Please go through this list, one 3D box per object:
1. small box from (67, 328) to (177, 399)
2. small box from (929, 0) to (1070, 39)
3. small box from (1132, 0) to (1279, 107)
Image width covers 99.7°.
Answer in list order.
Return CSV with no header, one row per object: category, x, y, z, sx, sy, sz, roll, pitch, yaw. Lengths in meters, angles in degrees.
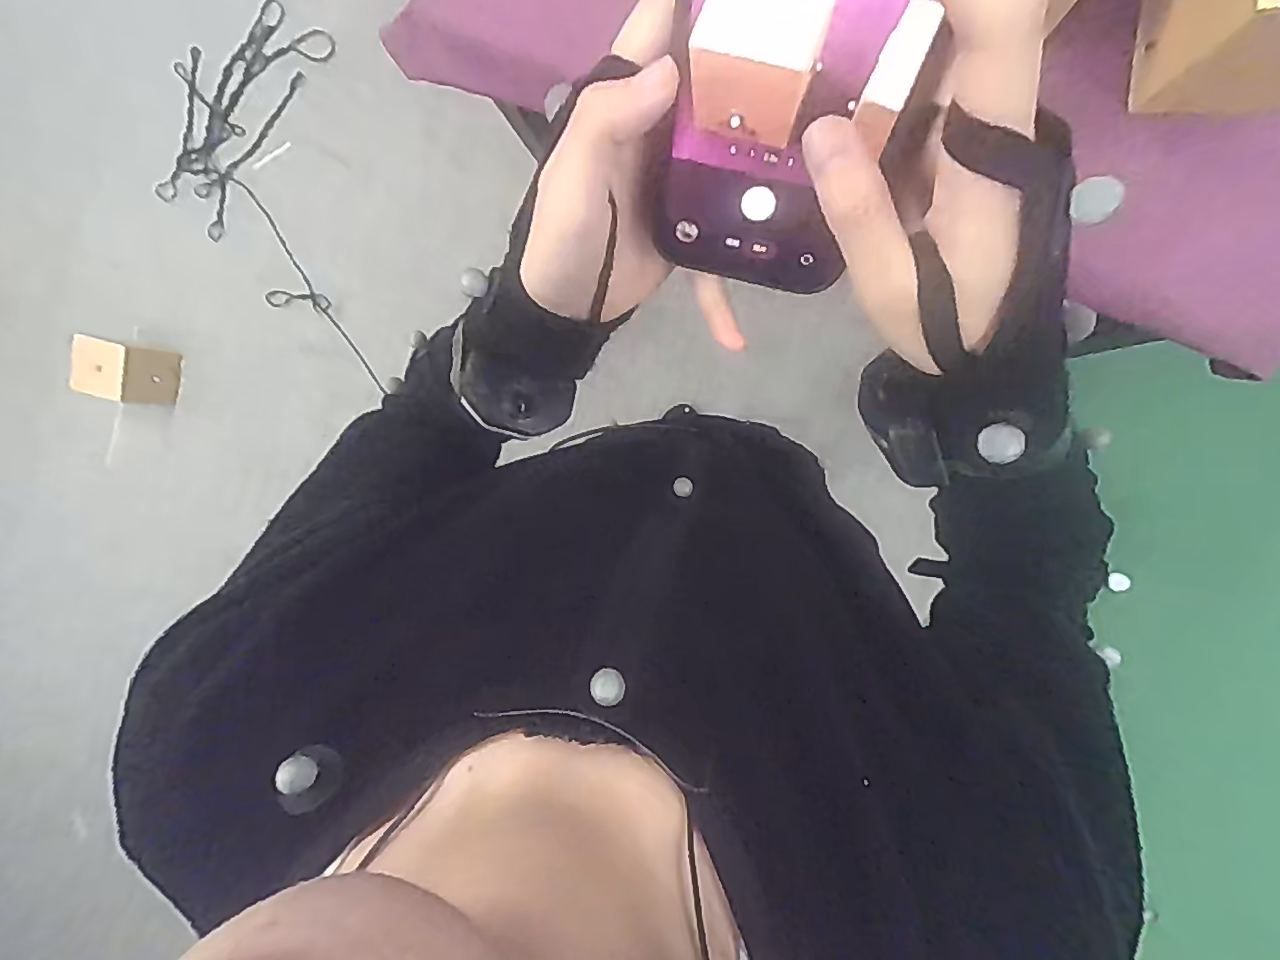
small box,-1.544,-0.343,1.620,0.179,0.176,0.168,16,98,7
small box,0.423,-0.623,0.568,0.179,0.176,0.168,27,100,5
small box,0.654,-0.509,0.544,0.179,0.176,0.168,3,96,8
